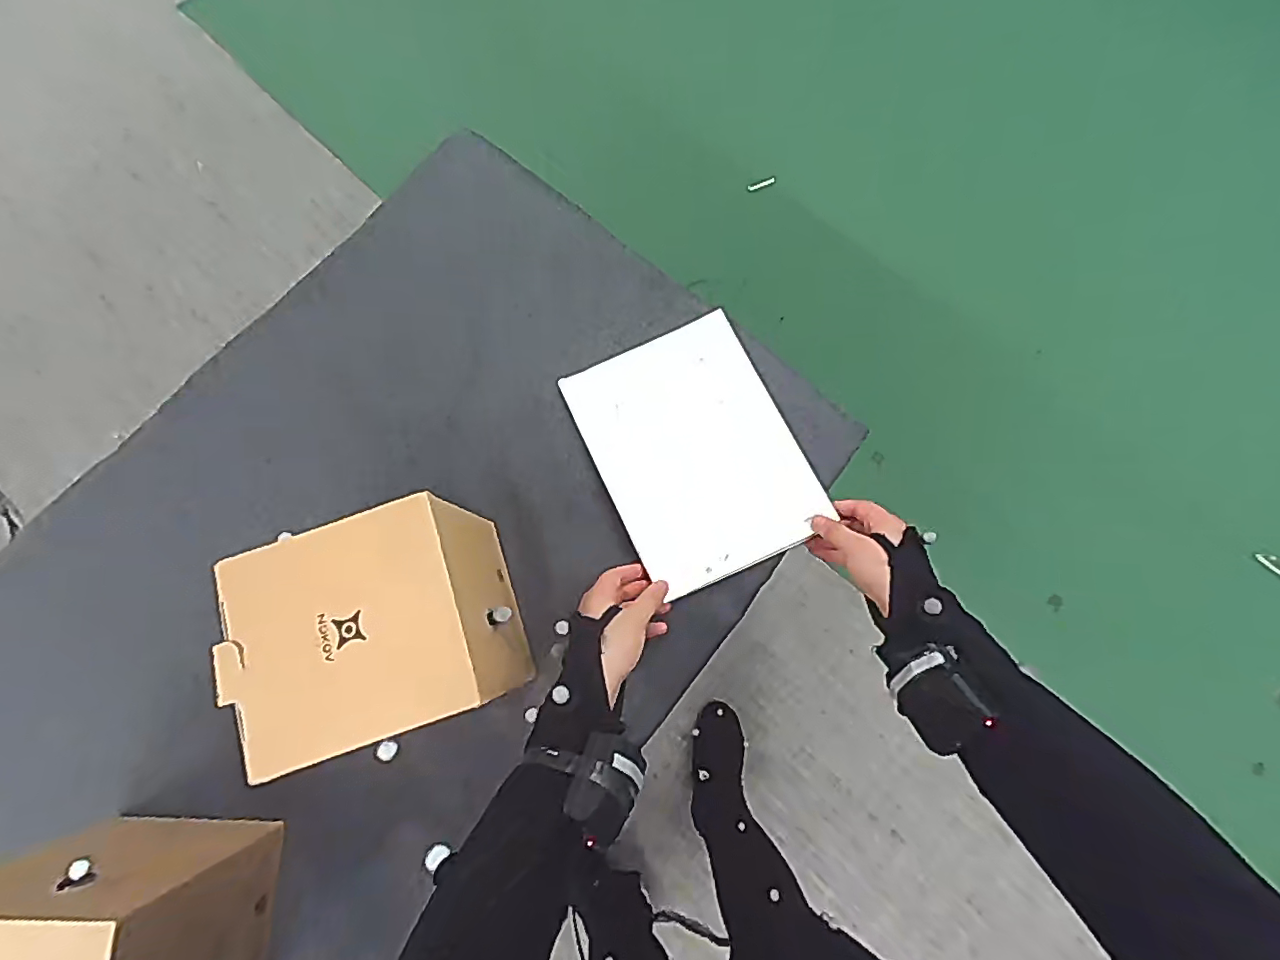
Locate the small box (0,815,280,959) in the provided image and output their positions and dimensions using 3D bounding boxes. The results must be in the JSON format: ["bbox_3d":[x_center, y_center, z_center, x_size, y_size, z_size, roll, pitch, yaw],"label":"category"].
[{"bbox_3d":[-0.430,0.389,0.429,0.179,0.176,0.168,0,78,3],"label":"small box"}]

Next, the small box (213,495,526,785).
[{"bbox_3d":[-0.211,0.126,0.472,0.179,0.176,0.168,-20,78,0],"label":"small box"}]
